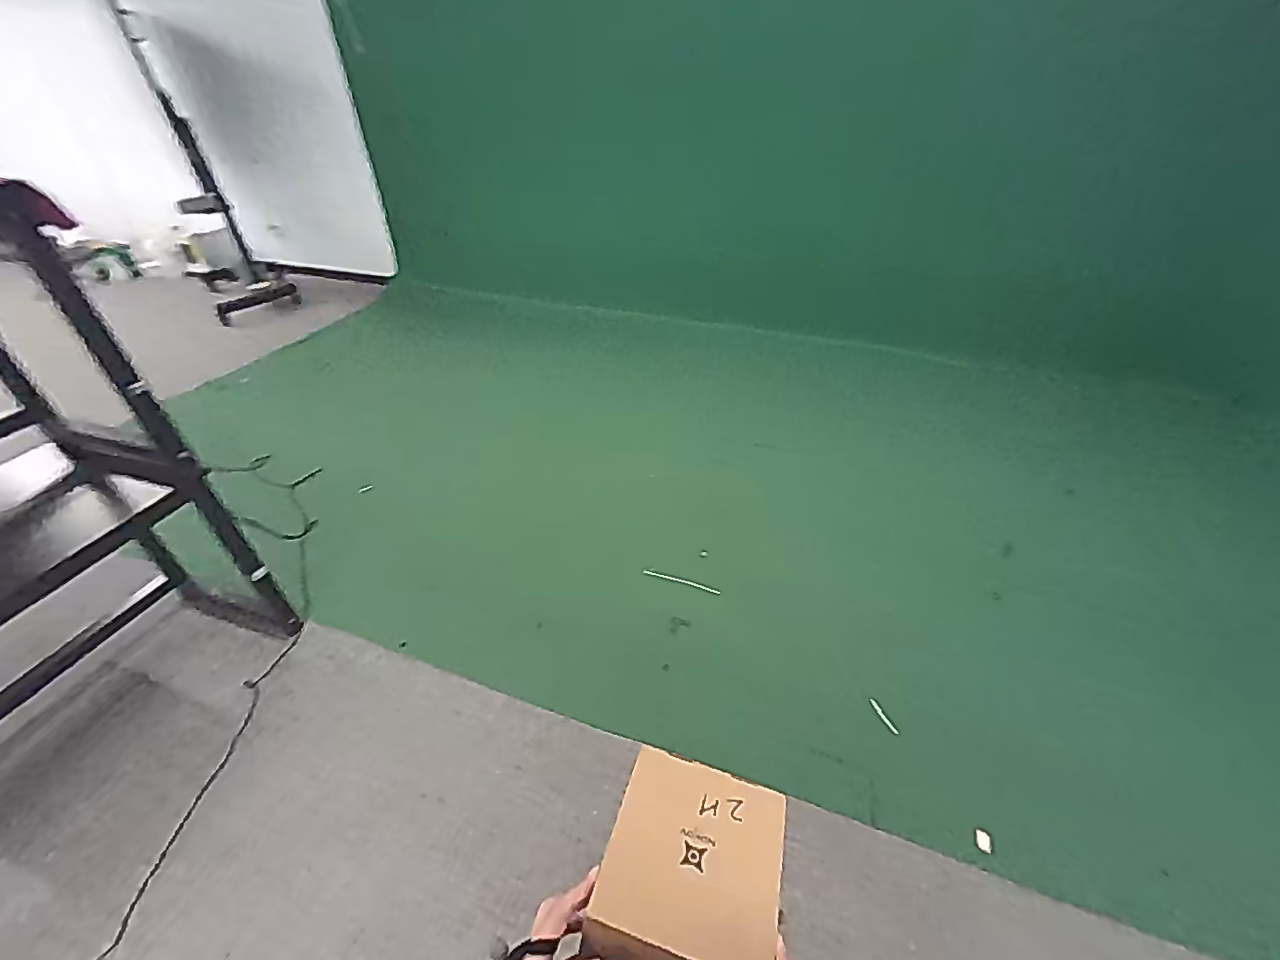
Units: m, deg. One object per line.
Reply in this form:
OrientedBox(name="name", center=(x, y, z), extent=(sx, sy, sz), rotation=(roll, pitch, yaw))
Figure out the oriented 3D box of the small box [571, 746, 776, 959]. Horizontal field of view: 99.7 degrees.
OrientedBox(name="small box", center=(0.035, 0.429, 0.565), extent=(0.168, 0.176, 0.179), rotation=(15, 30, 12))
